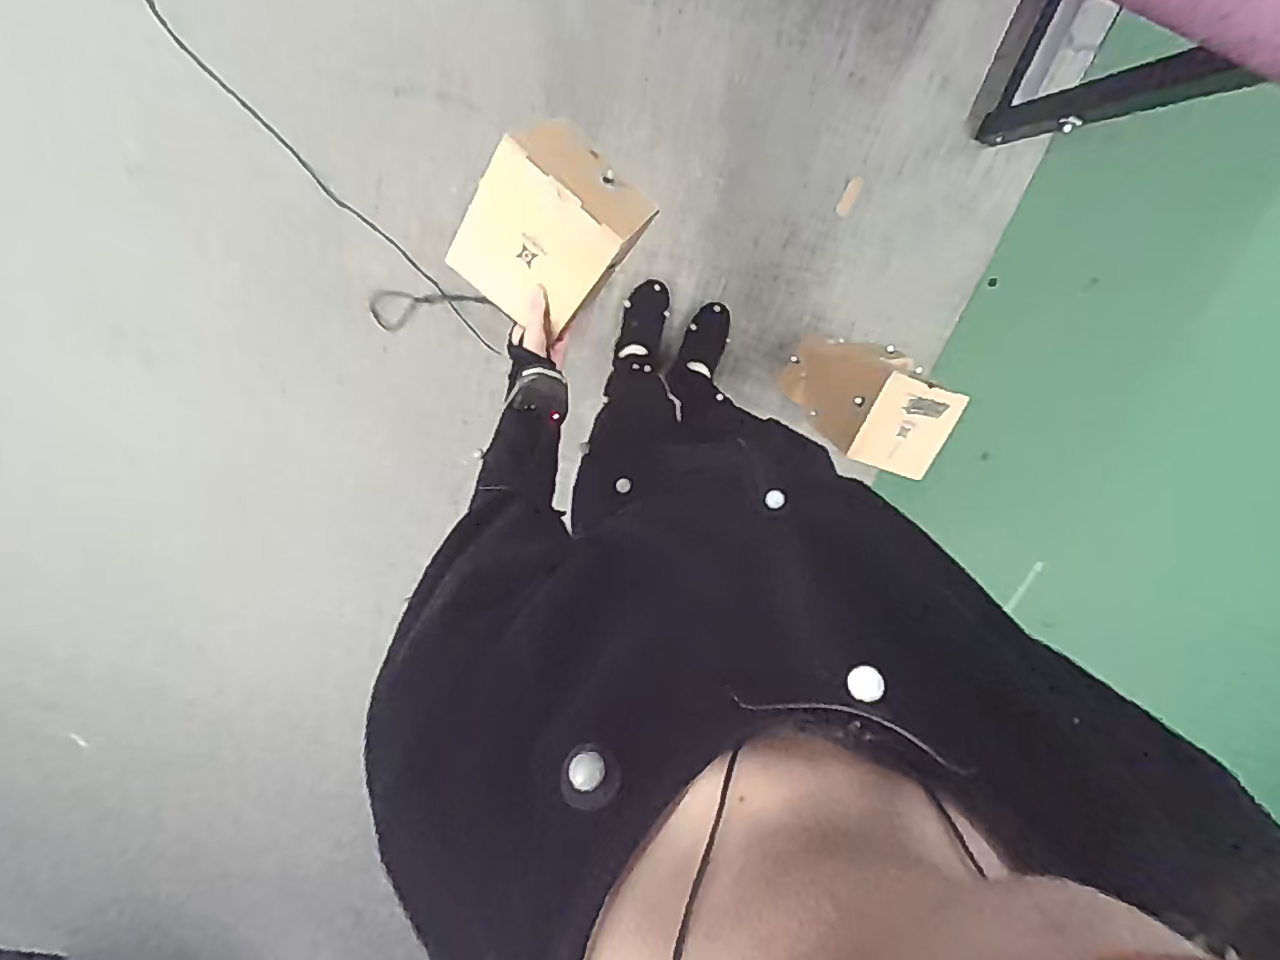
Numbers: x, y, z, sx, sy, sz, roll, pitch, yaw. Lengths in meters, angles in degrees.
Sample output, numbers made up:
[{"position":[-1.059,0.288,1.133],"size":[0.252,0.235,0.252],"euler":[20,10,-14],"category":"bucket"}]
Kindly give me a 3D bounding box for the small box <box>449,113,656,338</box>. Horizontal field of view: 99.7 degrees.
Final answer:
[{"position":[-0.102,-0.322,0.684],"size":[0.168,0.176,0.179],"euler":[39,130,-12],"category":"small box"}]

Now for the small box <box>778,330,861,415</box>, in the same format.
[{"position":[0.474,-0.262,1.357],"size":[0.179,0.176,0.168],"euler":[24,112,-12],"category":"small box"}]

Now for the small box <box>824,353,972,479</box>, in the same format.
[{"position":[0.487,-0.132,1.055],"size":[0.168,0.176,0.179],"euler":[16,114,-10],"category":"small box"}]
